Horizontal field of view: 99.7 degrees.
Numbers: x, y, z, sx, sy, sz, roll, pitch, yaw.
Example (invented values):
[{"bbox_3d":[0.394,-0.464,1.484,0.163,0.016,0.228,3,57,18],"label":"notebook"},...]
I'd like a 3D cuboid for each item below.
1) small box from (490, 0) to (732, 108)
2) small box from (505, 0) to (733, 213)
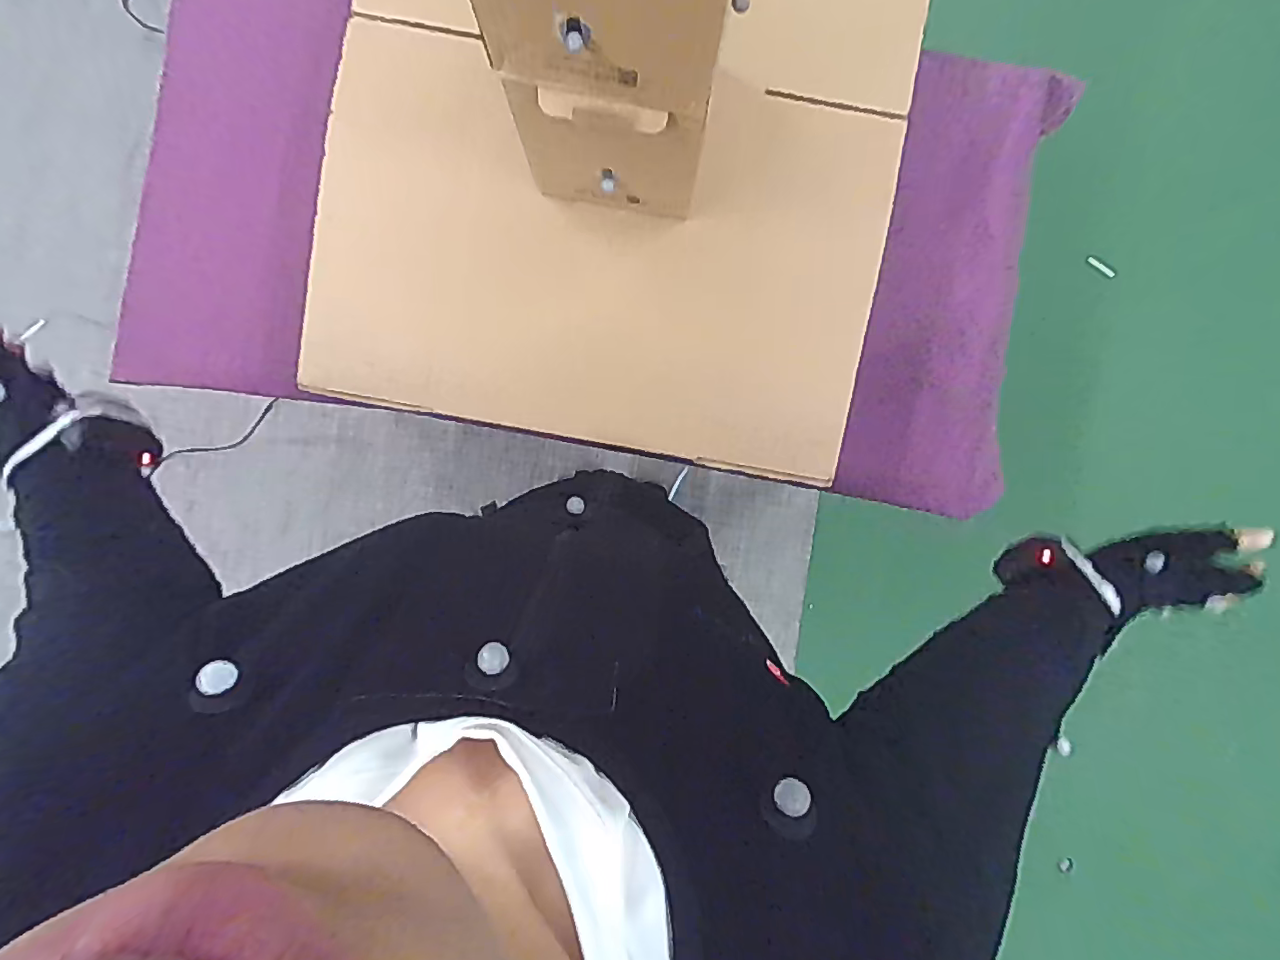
[{"bbox_3d":[-0.010,-0.384,0.335,0.168,0.176,0.179,11,90,0],"label":"small box"},{"bbox_3d":[-0.010,-0.384,0.498,0.168,0.176,0.179,11,90,0],"label":"small box"}]
